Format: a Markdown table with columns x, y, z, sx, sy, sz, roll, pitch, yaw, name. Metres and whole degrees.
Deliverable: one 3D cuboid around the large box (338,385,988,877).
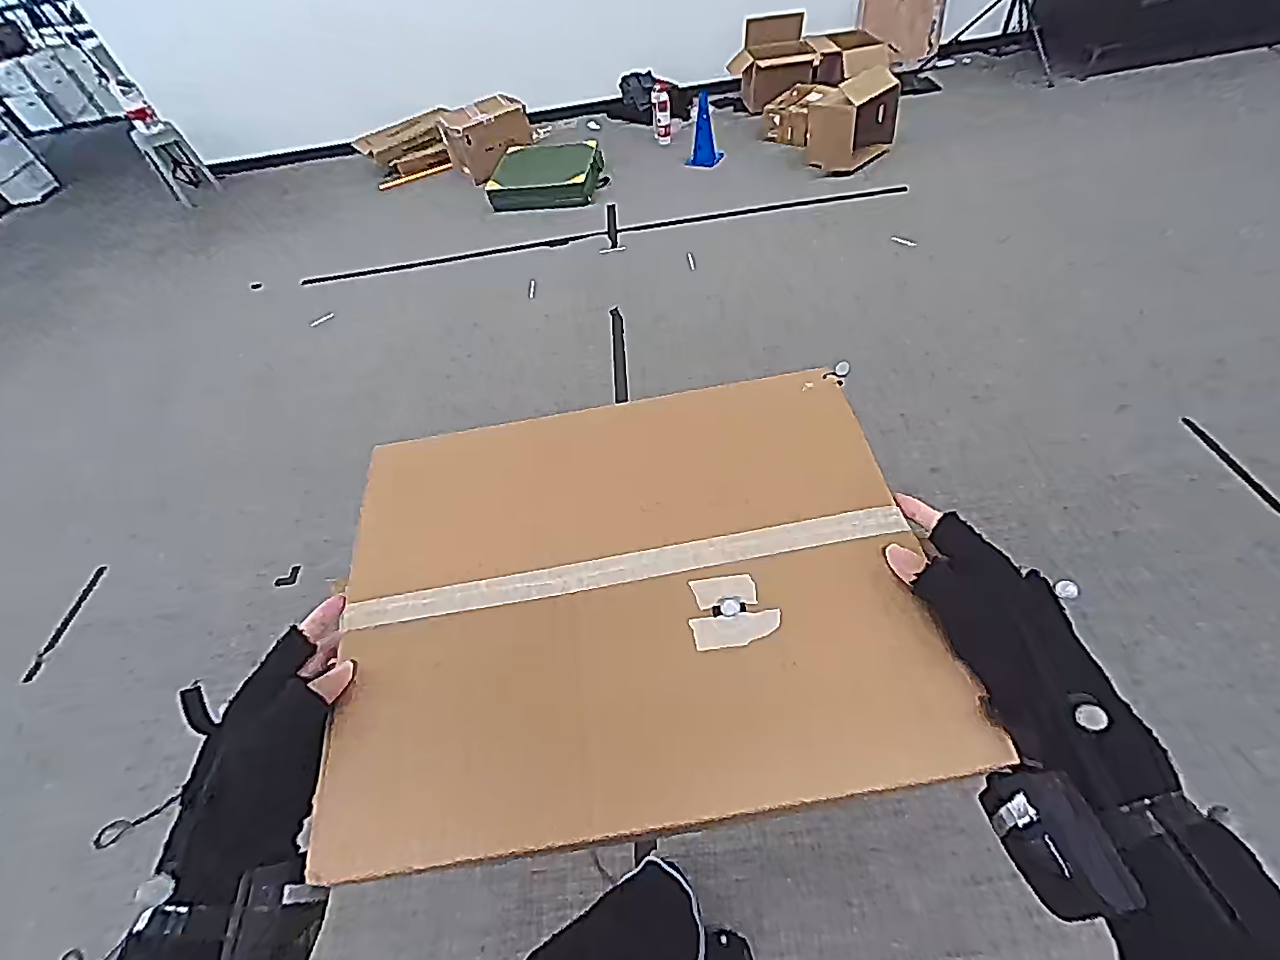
| x | y | z | sx | sy | sz | roll | pitch | yaw | name |
| --- | --- | --- | --- | --- | --- | --- | --- | --- | --- |
| 0.005 | 0.155 | 0.524 | 0.408 | 0.320 | 0.320 | -10 | 57 | 0 | large box |
